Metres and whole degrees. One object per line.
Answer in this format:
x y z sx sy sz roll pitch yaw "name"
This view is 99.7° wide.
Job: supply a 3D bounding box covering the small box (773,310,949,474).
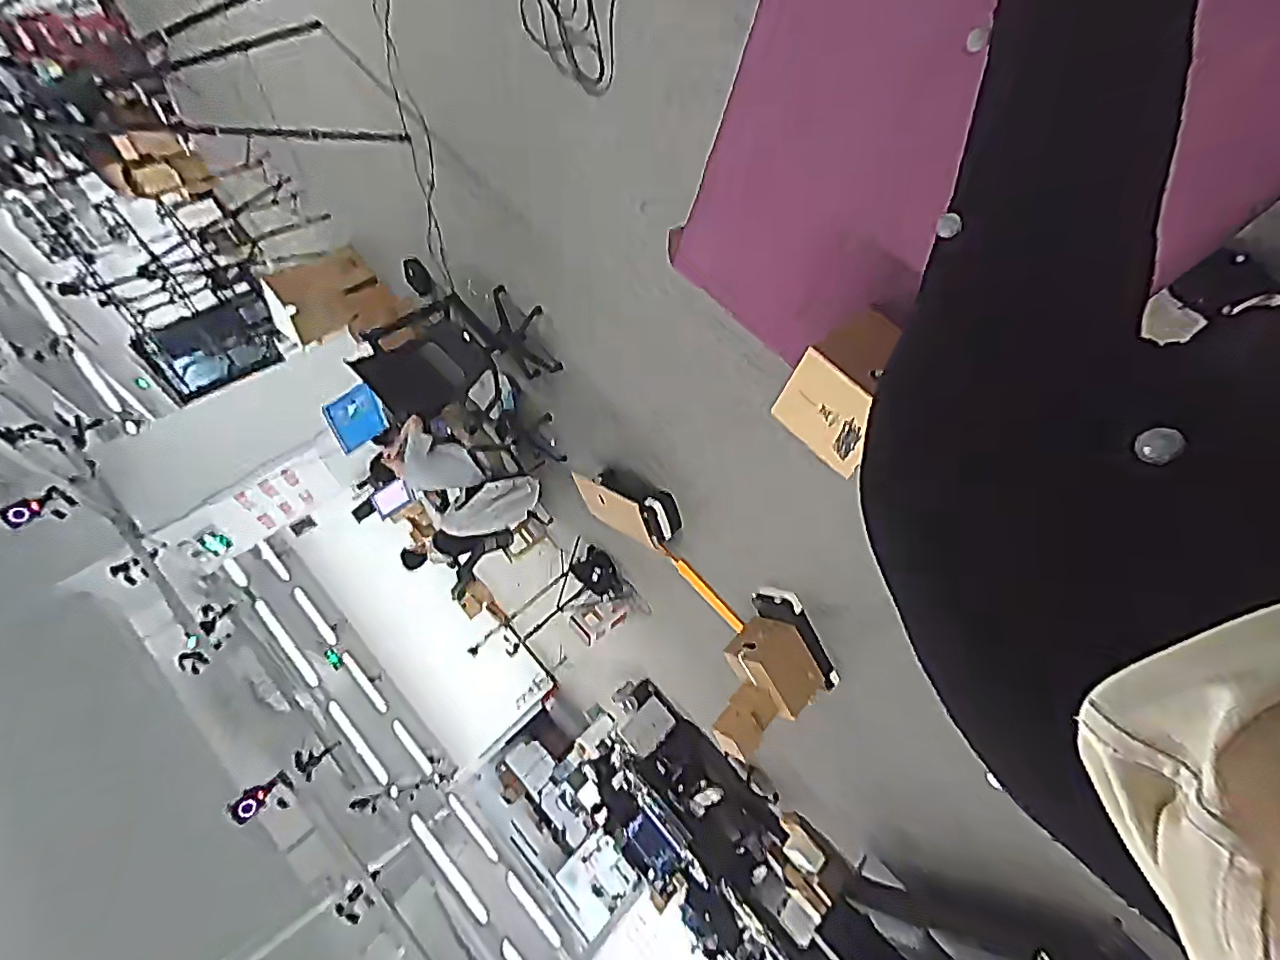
0.363 -0.150 0.897 0.179 0.176 0.168 47 153 16 "small box"
